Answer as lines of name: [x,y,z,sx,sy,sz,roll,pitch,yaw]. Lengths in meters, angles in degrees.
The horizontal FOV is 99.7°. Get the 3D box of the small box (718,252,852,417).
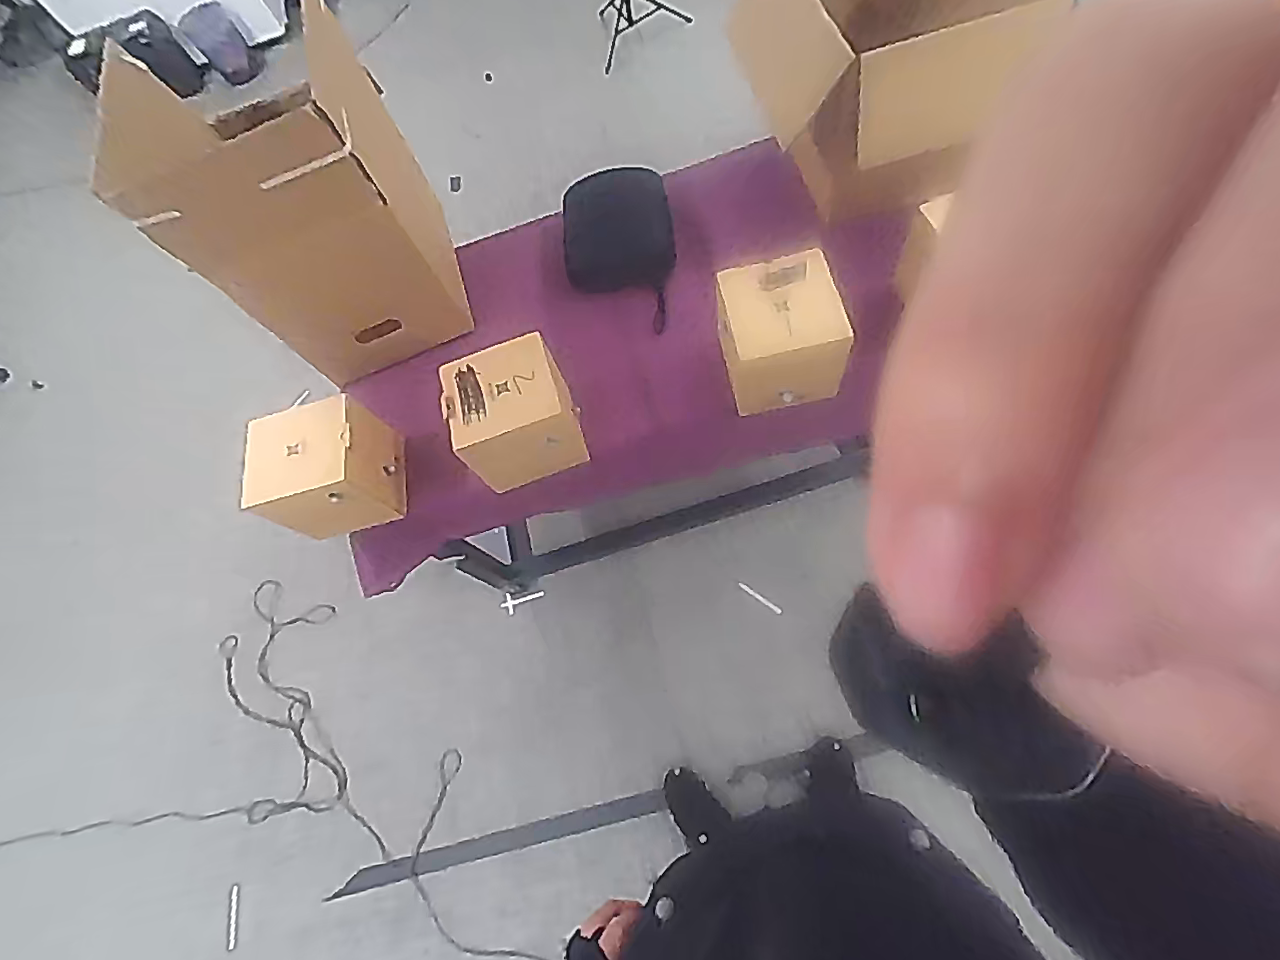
small box: [0.224,-0.228,0.880,0.168,0.176,0.179,-12,67,6]

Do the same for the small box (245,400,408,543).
small box: [-0.527,-0.006,0.929,0.179,0.176,0.168,-16,65,2]
